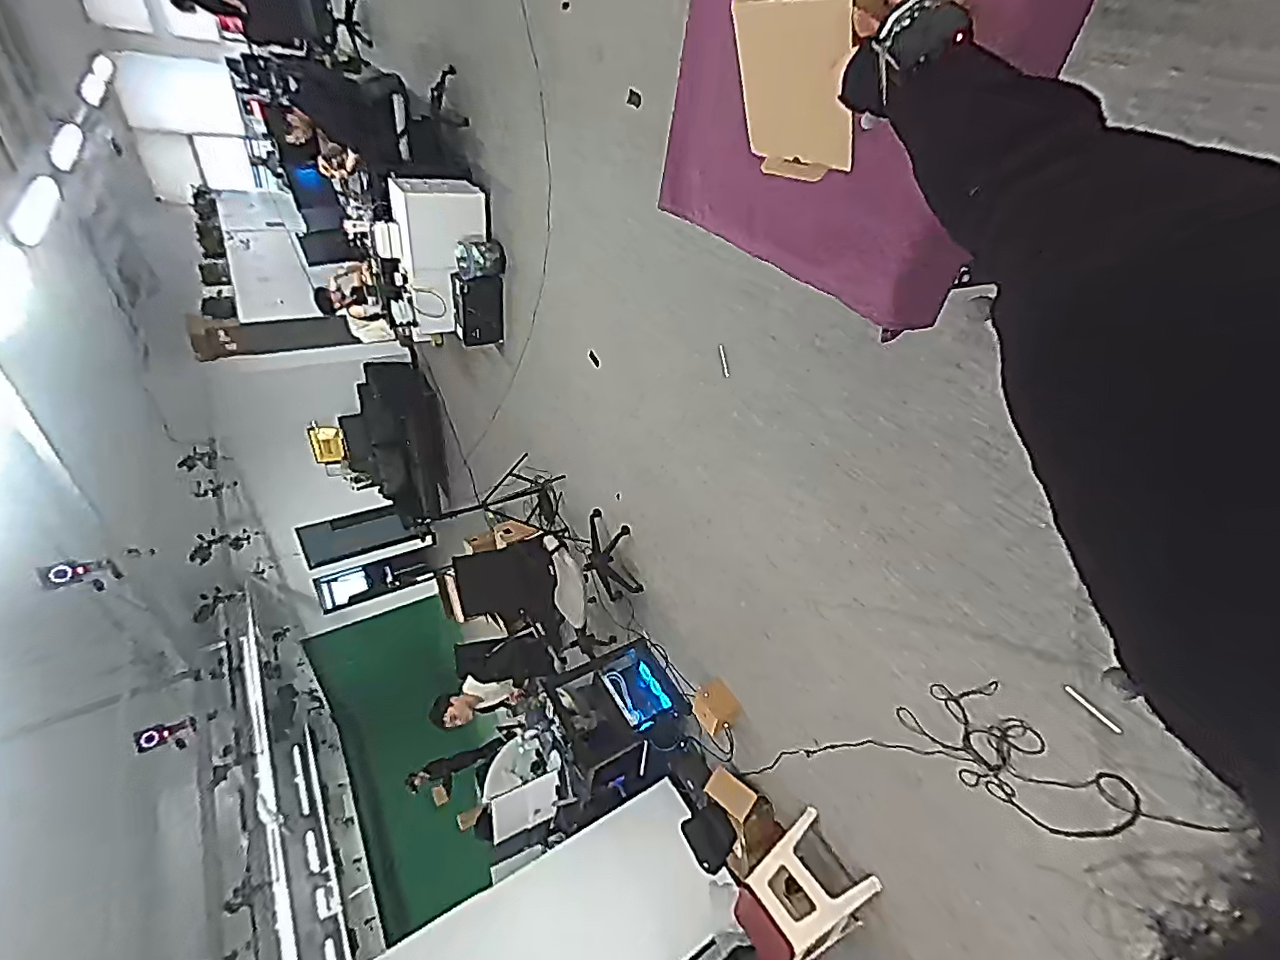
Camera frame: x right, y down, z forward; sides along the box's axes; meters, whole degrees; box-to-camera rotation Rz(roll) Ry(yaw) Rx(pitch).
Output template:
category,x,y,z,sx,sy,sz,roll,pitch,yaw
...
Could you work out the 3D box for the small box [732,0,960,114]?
category,x,y,z,sx,sy,sz,roll,pitch,yaw
small box,0.246,-0.565,0.624,0.168,0.176,0.179,38,100,37
